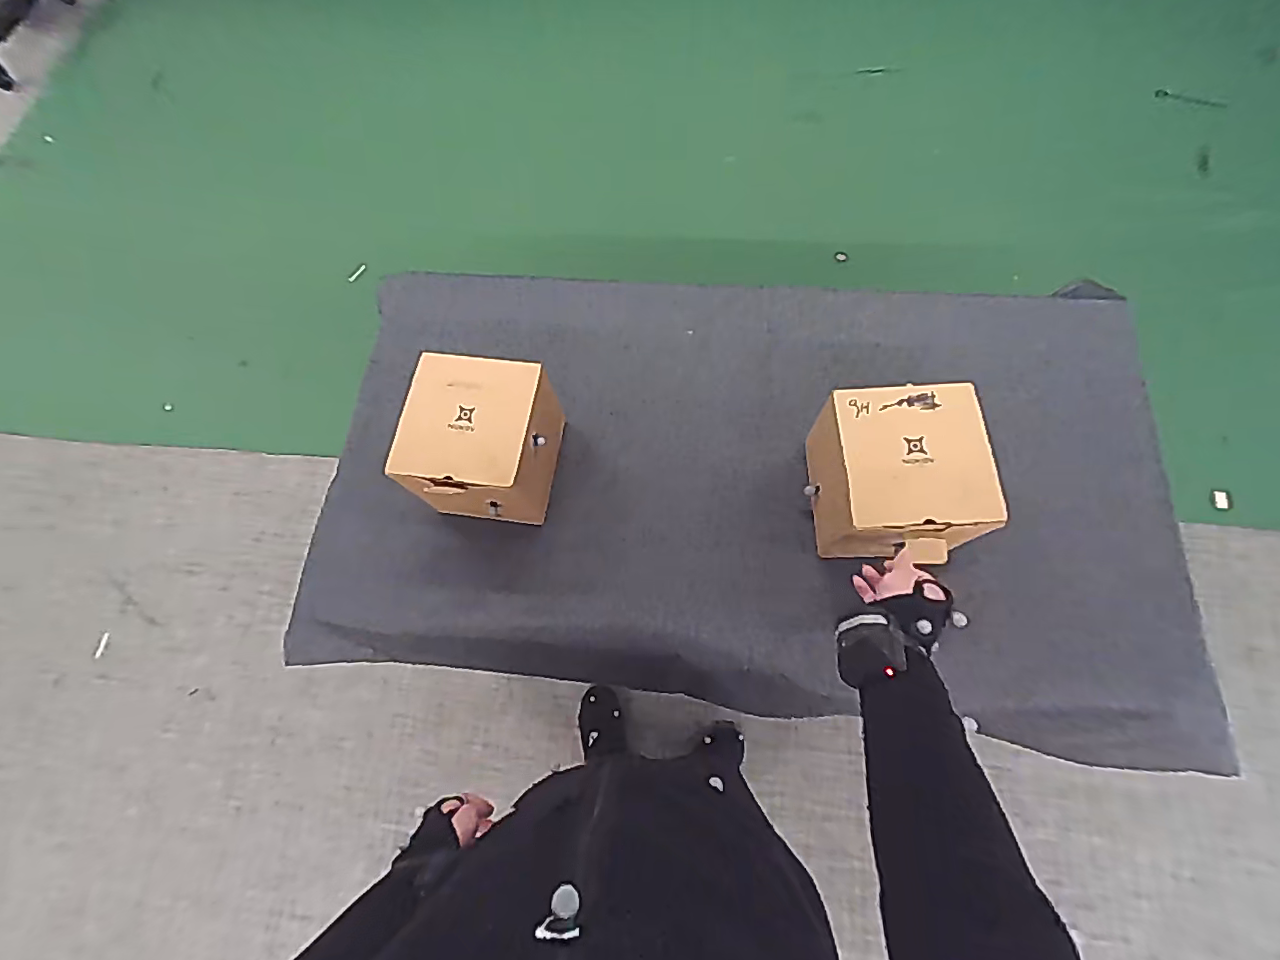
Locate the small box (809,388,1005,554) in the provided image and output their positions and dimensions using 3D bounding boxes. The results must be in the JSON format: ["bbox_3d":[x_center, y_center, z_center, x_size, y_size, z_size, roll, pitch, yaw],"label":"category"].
[{"bbox_3d":[0.326,-0.001,0.699,0.168,0.176,0.179,-2,71,4],"label":"small box"}]

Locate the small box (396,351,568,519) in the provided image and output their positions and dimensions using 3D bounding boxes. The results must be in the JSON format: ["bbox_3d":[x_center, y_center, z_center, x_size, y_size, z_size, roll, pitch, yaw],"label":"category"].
[{"bbox_3d":[-0.205,-0.055,0.761,0.168,0.176,0.179,7,70,5],"label":"small box"}]
